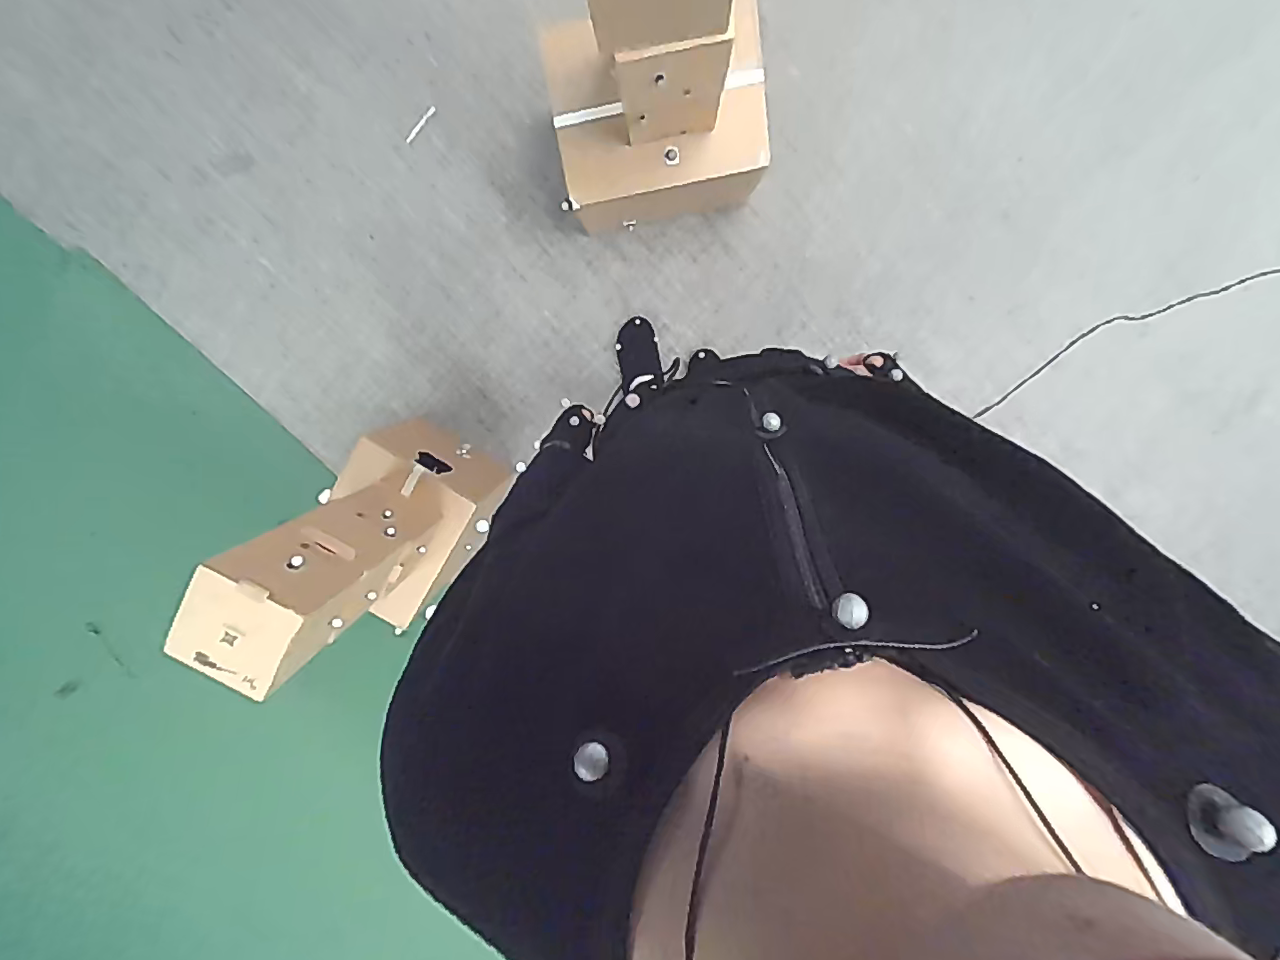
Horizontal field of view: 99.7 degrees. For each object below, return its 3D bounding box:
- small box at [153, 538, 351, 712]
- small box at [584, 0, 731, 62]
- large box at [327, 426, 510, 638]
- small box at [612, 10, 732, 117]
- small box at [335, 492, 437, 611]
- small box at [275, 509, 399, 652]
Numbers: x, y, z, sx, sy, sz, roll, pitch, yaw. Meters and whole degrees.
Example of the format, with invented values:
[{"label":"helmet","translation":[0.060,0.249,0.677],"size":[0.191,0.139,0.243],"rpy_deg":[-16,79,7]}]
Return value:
[{"label":"small box","translation":[-0.600,0.218,0.862],"size":[0.168,0.176,0.179],"rpy_deg":[32,101,-5]},{"label":"small box","translation":[0.016,-0.633,0.629],"size":[0.179,0.176,0.168],"rpy_deg":[-7,101,5]},{"label":"large box","translation":[-0.600,0.118,1.427],"size":[0.320,0.320,0.408],"rpy_deg":[32,104,-3]},{"label":"small box","translation":[0.037,-0.664,0.790],"size":[0.168,0.176,0.179],"rpy_deg":[-8,101,5]},{"label":"small box","translation":[-0.580,0.147,1.182],"size":[0.179,0.176,0.168],"rpy_deg":[33,102,-5]},{"label":"small box","translation":[-0.588,0.179,1.022],"size":[0.168,0.176,0.179],"rpy_deg":[31,103,-5]}]
